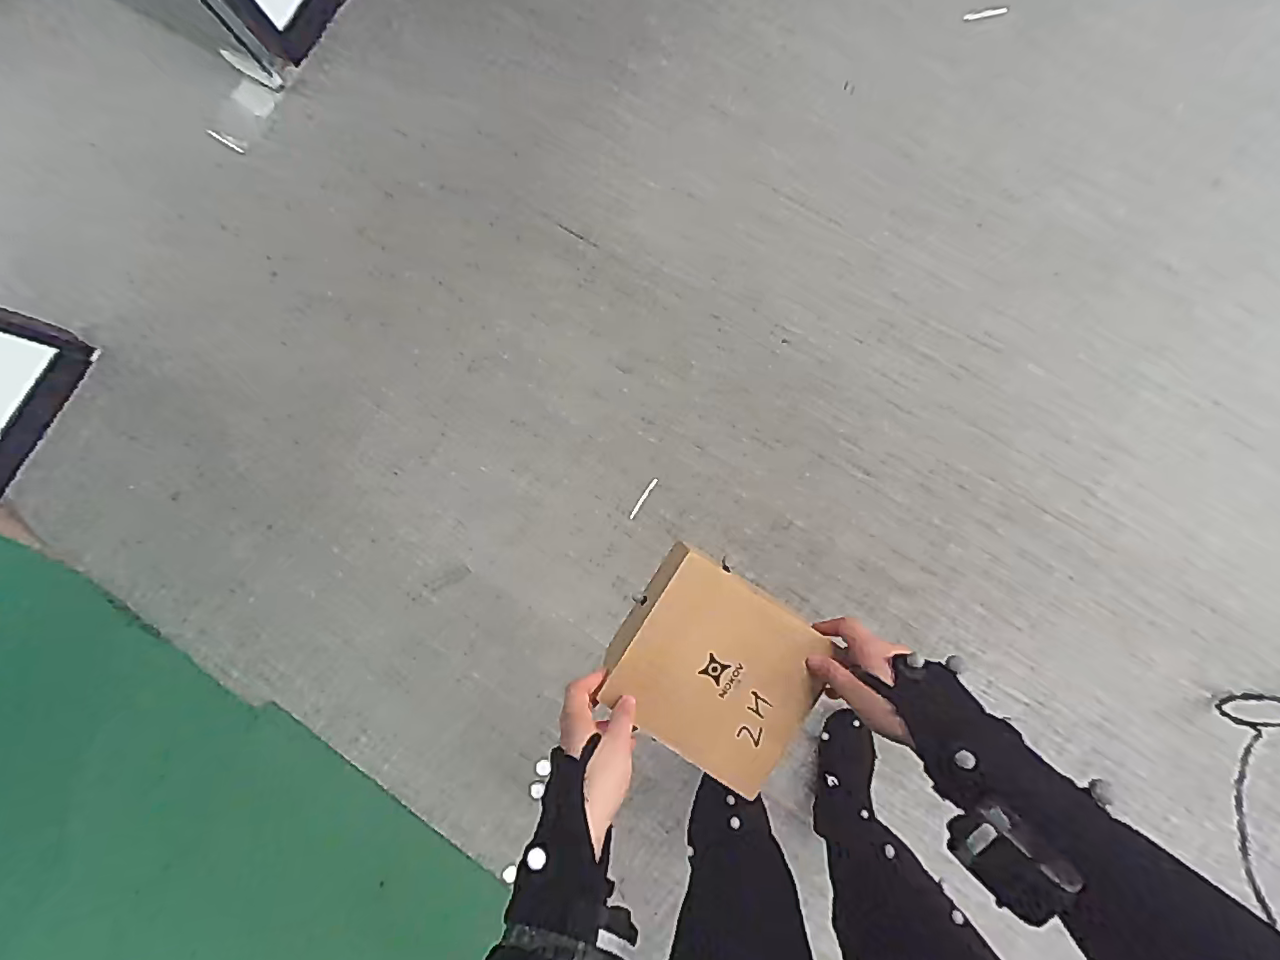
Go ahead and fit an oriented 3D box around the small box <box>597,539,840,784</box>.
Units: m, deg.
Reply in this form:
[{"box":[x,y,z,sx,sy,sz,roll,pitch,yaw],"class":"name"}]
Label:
[{"box":[0.074,0.176,0.589,0.179,0.176,0.168,33,89,2],"class":"small box"}]
